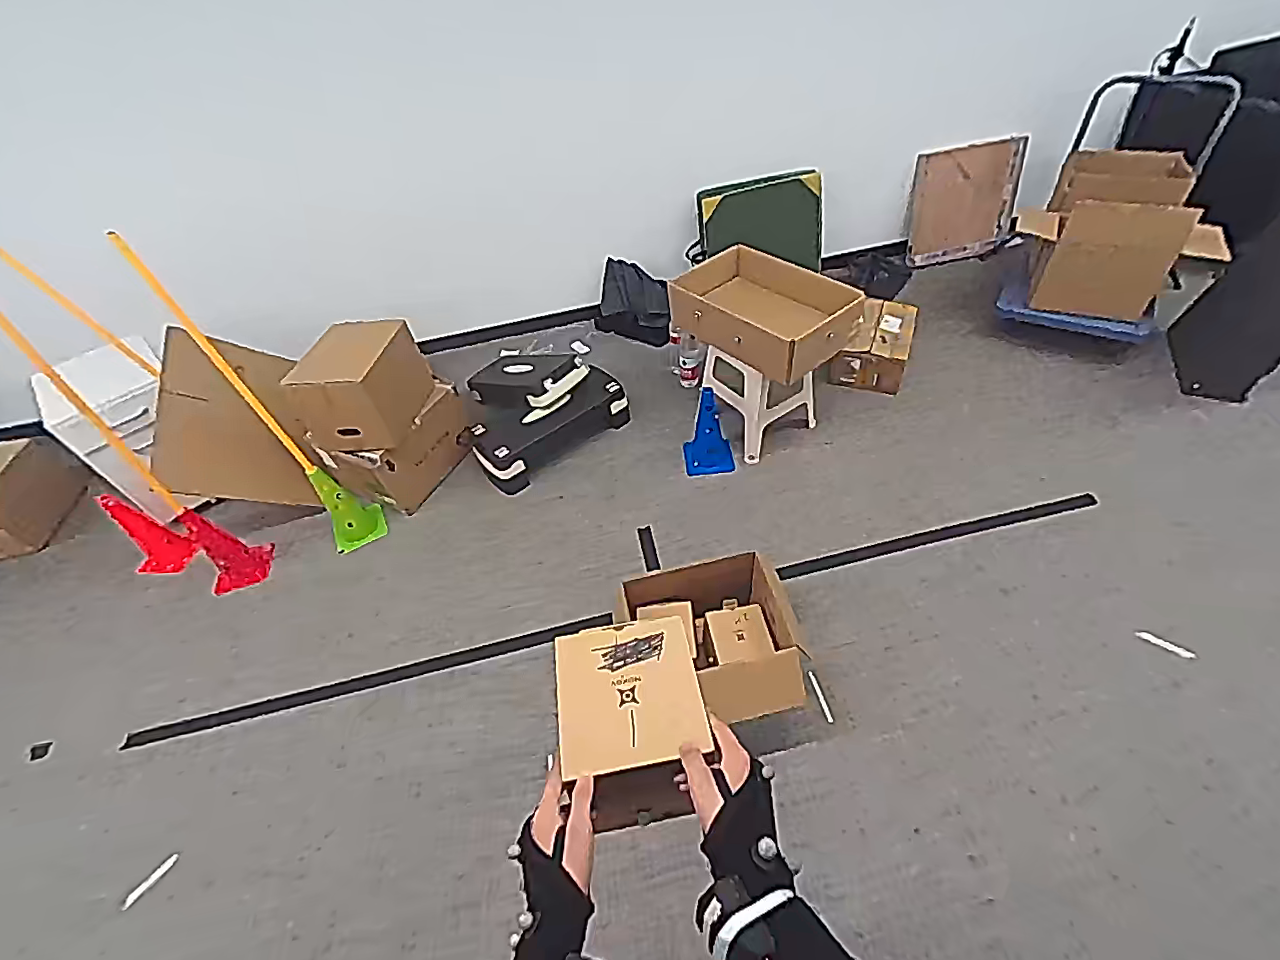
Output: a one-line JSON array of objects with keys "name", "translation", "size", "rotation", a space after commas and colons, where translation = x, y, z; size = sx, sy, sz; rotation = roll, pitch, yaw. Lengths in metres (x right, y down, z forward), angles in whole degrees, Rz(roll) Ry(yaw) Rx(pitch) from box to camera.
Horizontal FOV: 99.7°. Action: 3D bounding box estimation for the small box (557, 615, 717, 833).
[{"name": "small box", "translation": [-0.007, 0.299, 0.669], "size": [0.168, 0.176, 0.179], "rotation": [-10, 41, -3]}]
